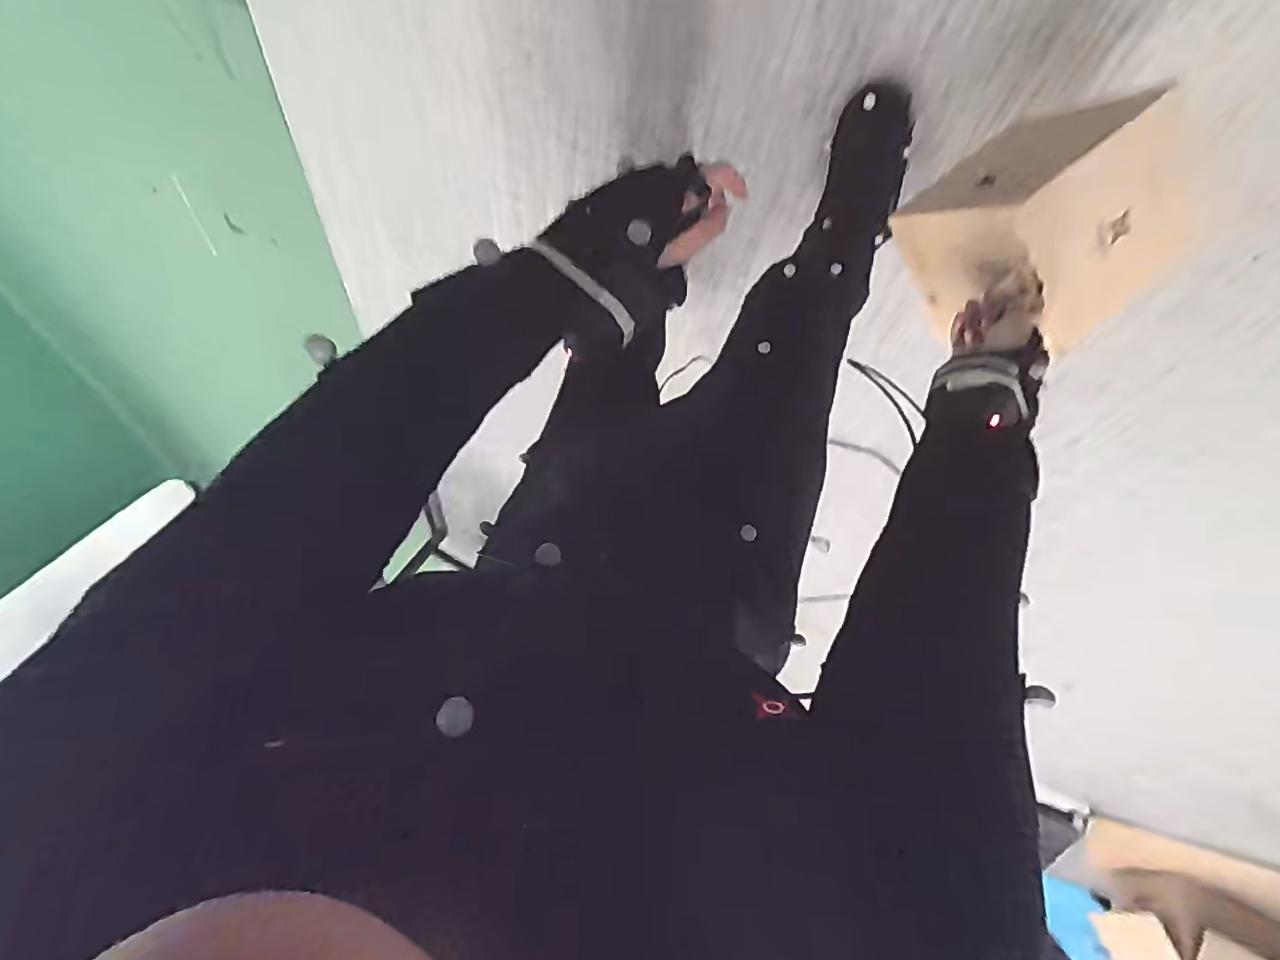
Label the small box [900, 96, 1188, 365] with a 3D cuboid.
[{"bbox_3d":[0.403,-0.247,0.564,0.168,0.179,0.176,54,179,-28],"label":"small box"}]
